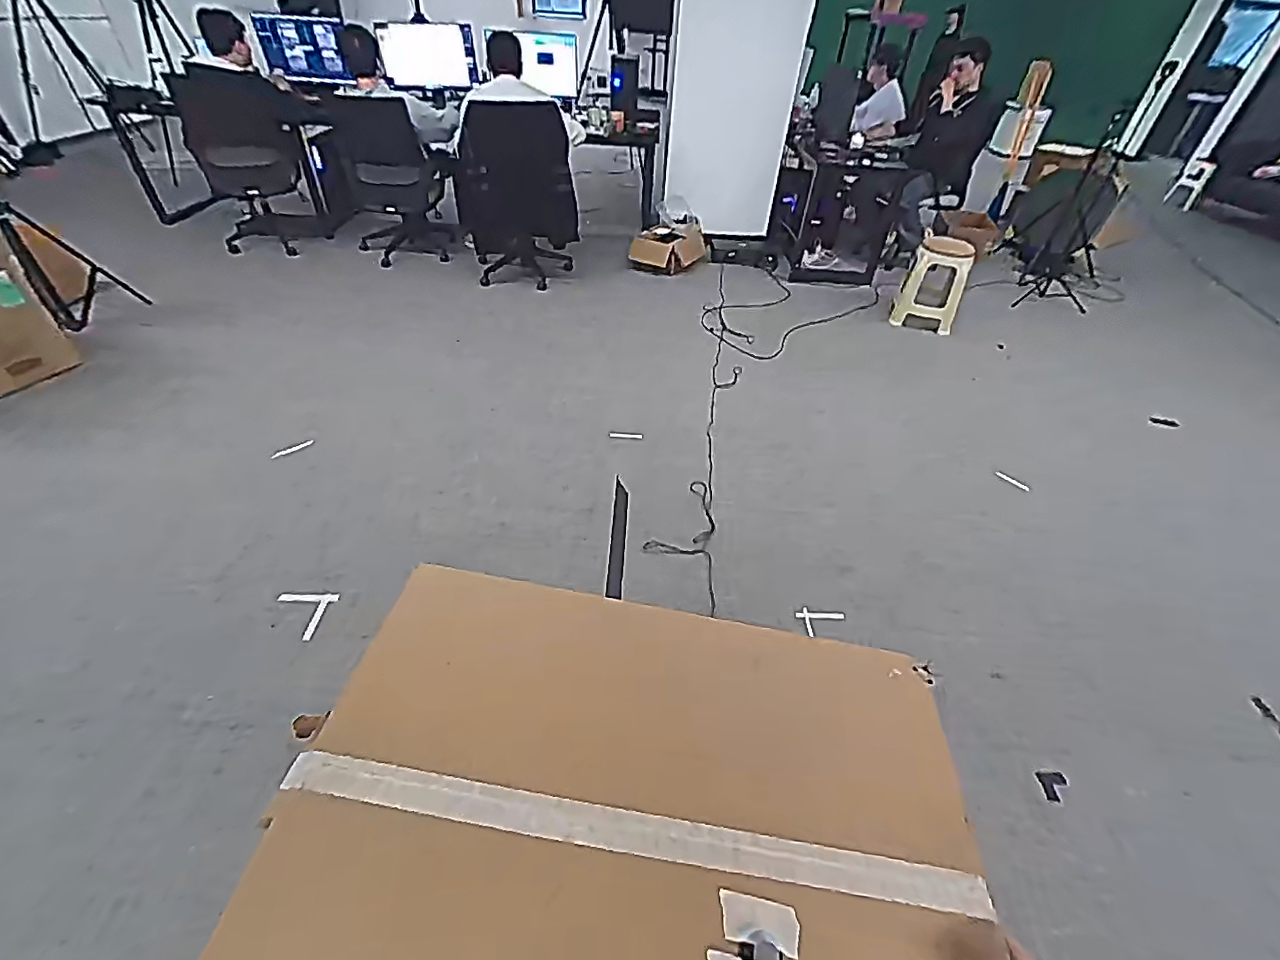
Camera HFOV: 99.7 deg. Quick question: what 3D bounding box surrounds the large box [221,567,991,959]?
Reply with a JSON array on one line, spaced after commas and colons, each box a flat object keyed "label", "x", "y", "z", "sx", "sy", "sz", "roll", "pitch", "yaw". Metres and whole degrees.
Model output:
[{"label": "large box", "x": -0.018, "y": 0.314, "z": 0.427, "sx": 0.408, "sy": 0.320, "sz": 0.320, "roll": 12, "pitch": 43, "yaw": 0}]
